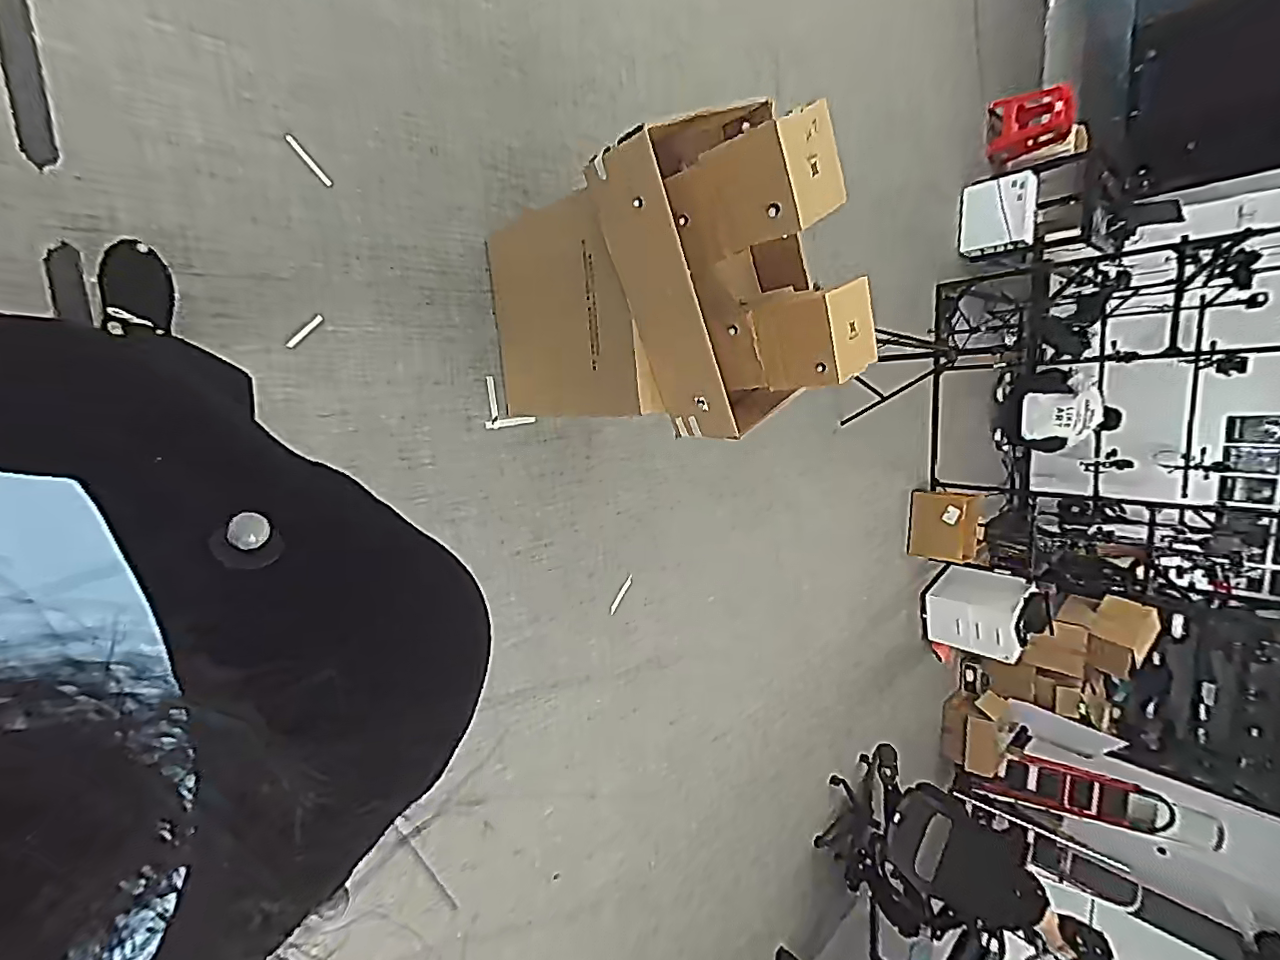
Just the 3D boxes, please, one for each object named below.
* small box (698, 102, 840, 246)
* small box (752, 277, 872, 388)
[{"bbox_3d":[0.235,-0.547,0.990,0.168,0.176,0.179,-41,119,-31],"label":"small box"},{"bbox_3d":[0.354,-0.300,1.122,0.168,0.176,0.179,-32,114,-35],"label":"small box"}]
